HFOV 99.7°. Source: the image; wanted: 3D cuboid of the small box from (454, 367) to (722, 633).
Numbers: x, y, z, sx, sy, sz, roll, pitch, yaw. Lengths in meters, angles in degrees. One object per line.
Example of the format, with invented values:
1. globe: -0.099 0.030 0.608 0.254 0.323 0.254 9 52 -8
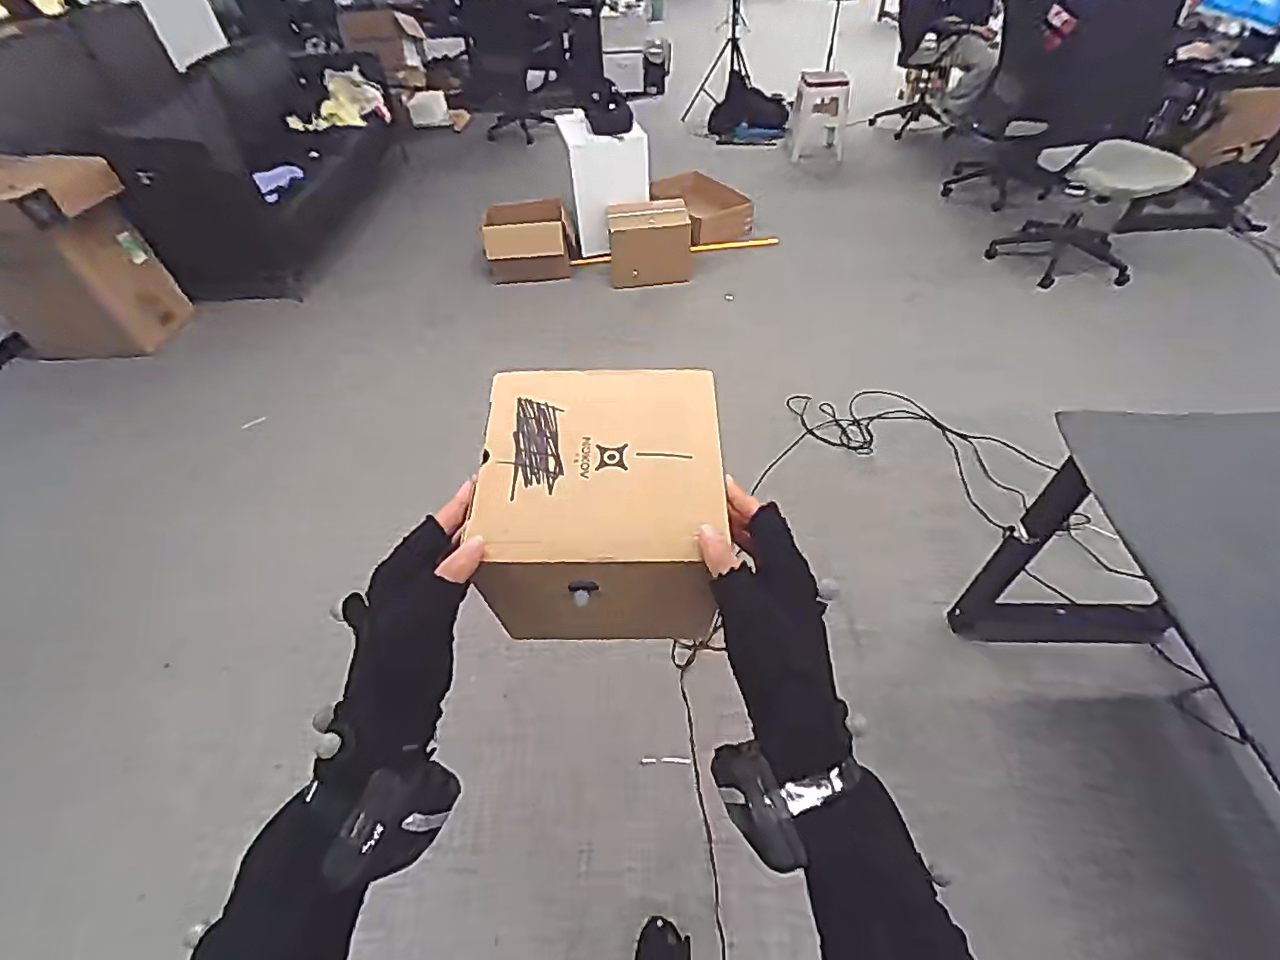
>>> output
1. small box: -0.032 0.024 0.454 0.179 0.176 0.168 0 58 0
